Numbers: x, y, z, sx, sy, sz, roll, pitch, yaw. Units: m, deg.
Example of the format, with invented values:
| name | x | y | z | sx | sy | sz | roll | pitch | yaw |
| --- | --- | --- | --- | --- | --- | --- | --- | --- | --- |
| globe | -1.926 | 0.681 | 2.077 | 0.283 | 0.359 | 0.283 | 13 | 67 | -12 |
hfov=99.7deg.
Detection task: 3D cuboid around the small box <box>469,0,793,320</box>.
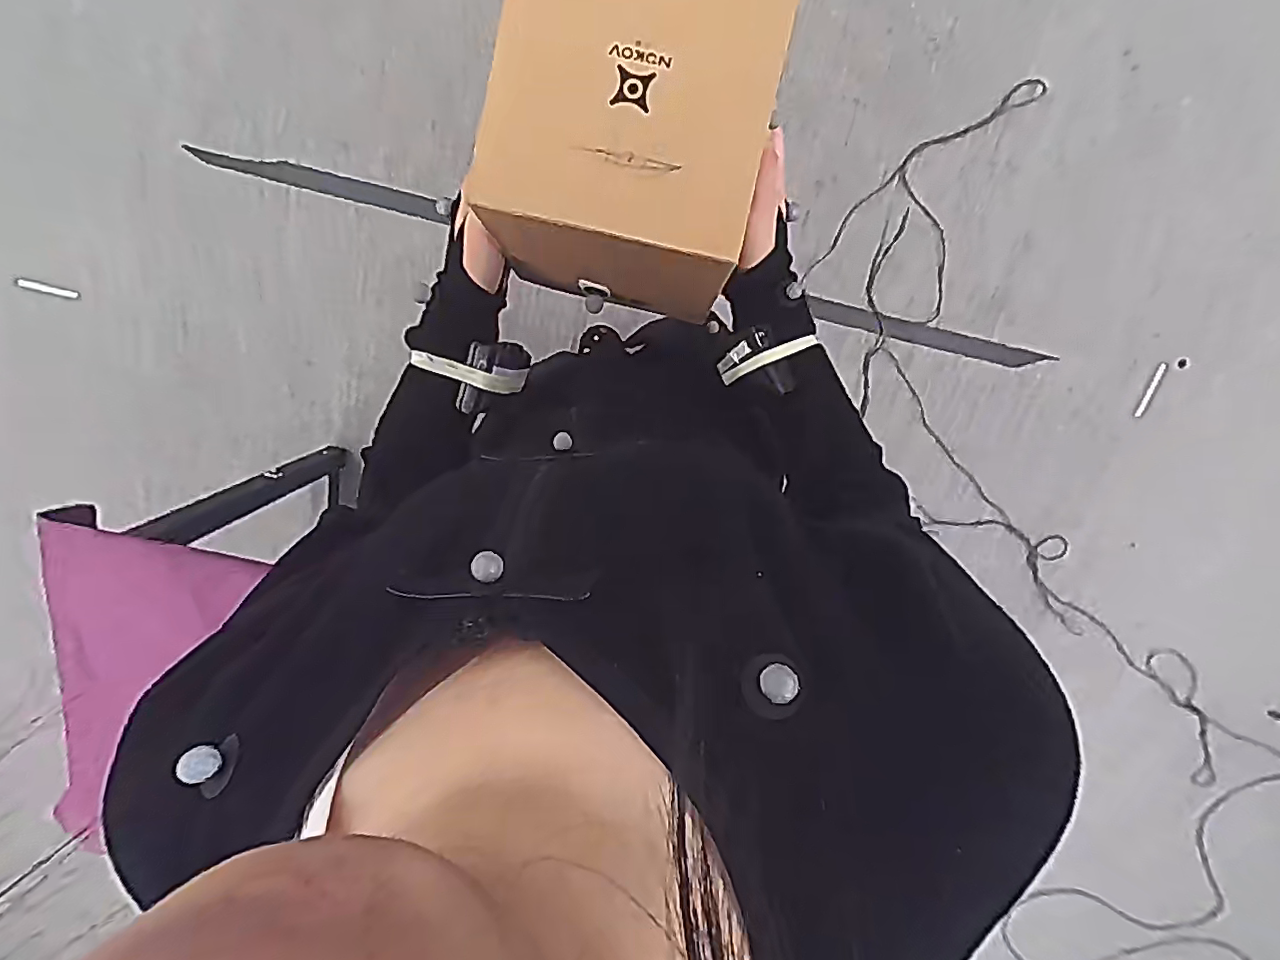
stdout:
| name | x | y | z | sx | sy | sz | roll | pitch | yaw |
| --- | --- | --- | --- | --- | --- | --- | --- | --- | --- |
| small box | -0.006 | -0.237 | 0.397 | 0.168 | 0.176 | 0.179 | 12 | 94 | -1 |
